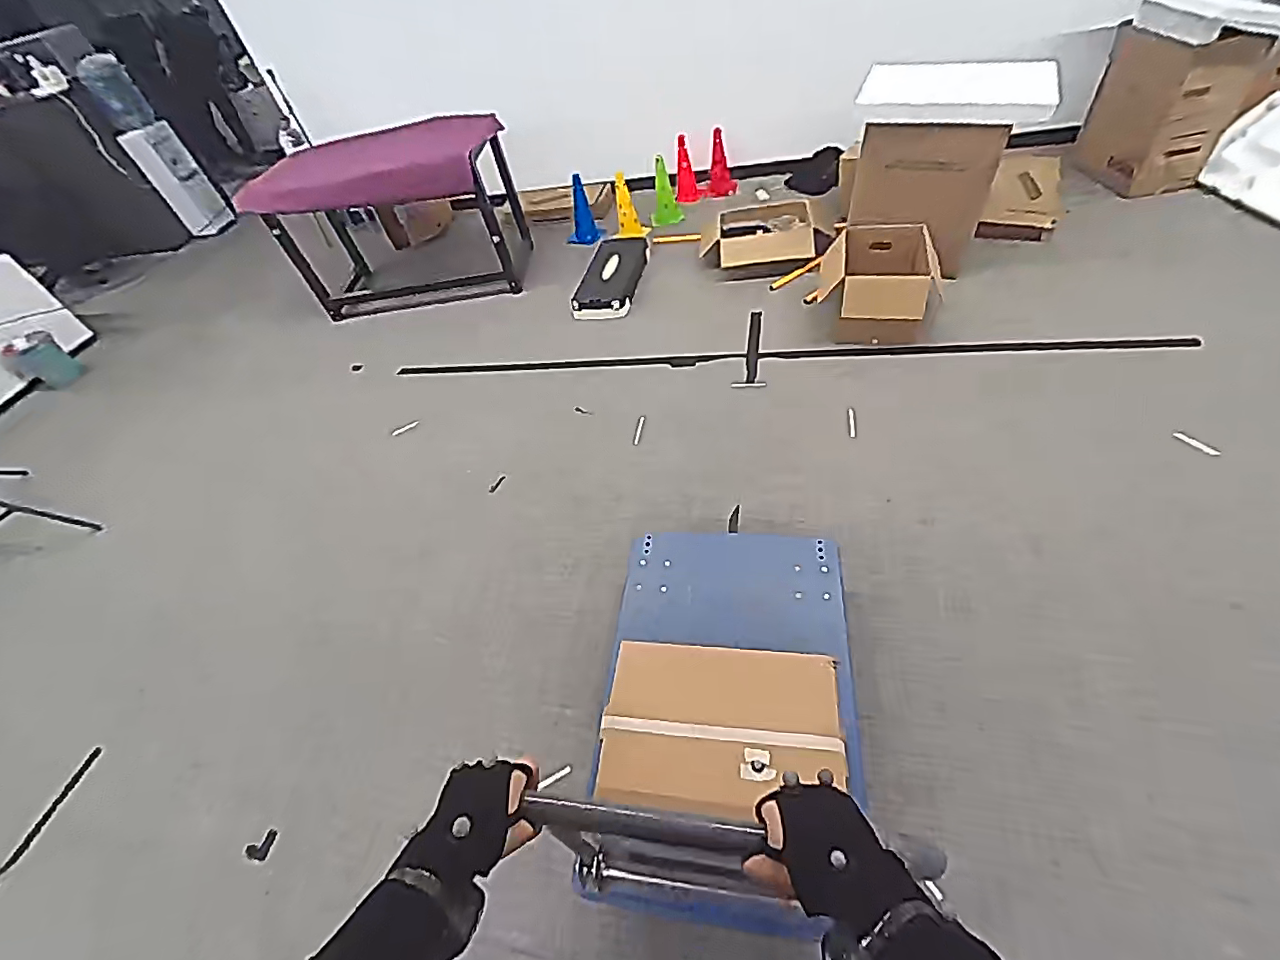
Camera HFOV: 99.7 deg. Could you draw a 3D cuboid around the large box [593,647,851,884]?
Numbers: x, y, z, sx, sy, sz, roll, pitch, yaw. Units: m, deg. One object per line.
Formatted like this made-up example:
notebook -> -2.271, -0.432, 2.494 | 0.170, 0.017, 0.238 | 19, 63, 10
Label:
large box -> 0.156, 0.543, 1.036 | 0.408, 0.320, 0.320 | 1, 50, 12
